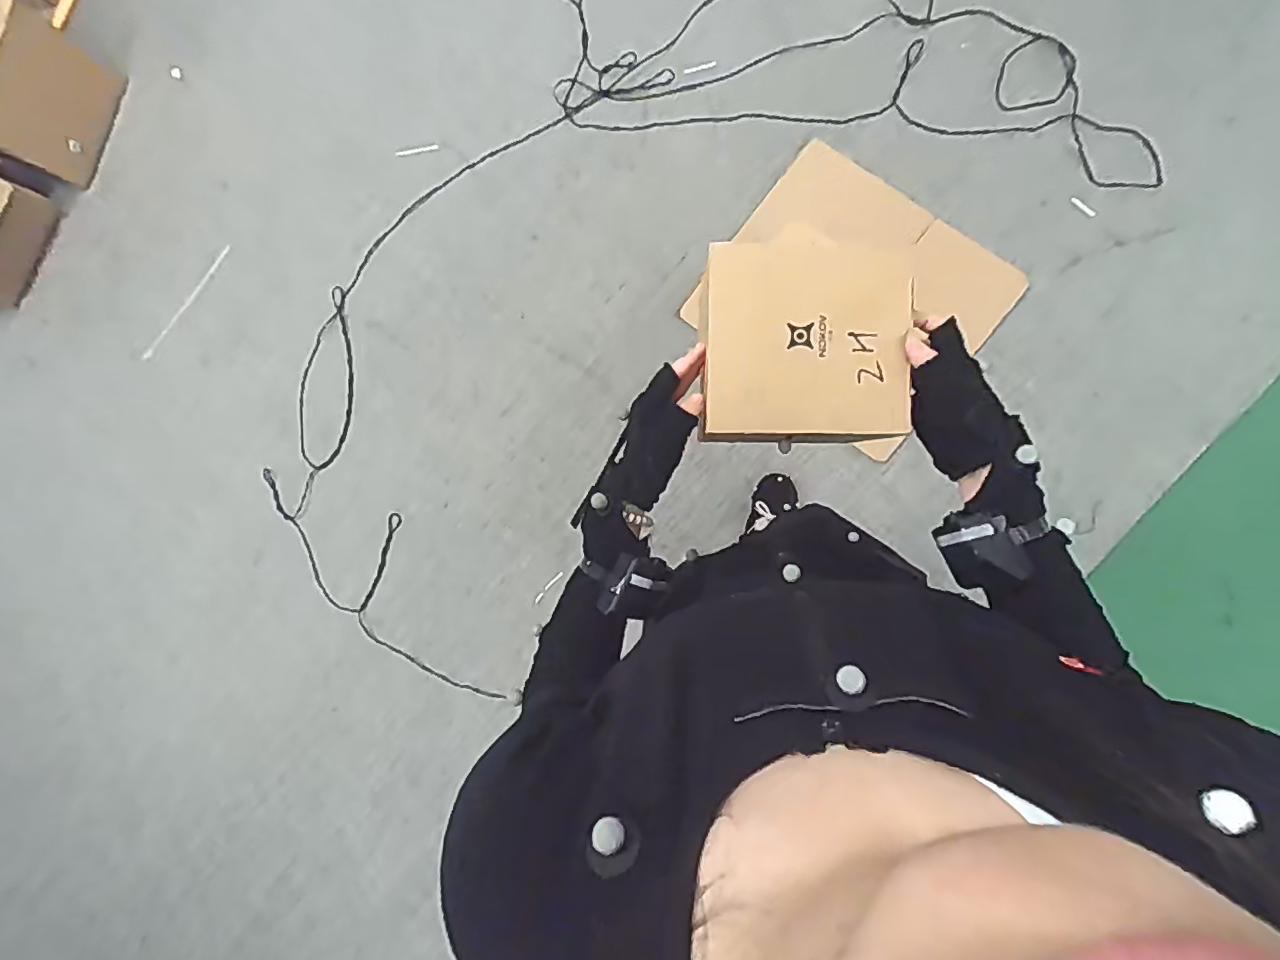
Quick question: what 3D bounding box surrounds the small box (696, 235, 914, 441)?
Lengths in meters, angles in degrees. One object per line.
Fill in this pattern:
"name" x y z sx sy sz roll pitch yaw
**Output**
"small box" 0.146 -0.126 0.538 0.179 0.176 0.168 1 91 3
